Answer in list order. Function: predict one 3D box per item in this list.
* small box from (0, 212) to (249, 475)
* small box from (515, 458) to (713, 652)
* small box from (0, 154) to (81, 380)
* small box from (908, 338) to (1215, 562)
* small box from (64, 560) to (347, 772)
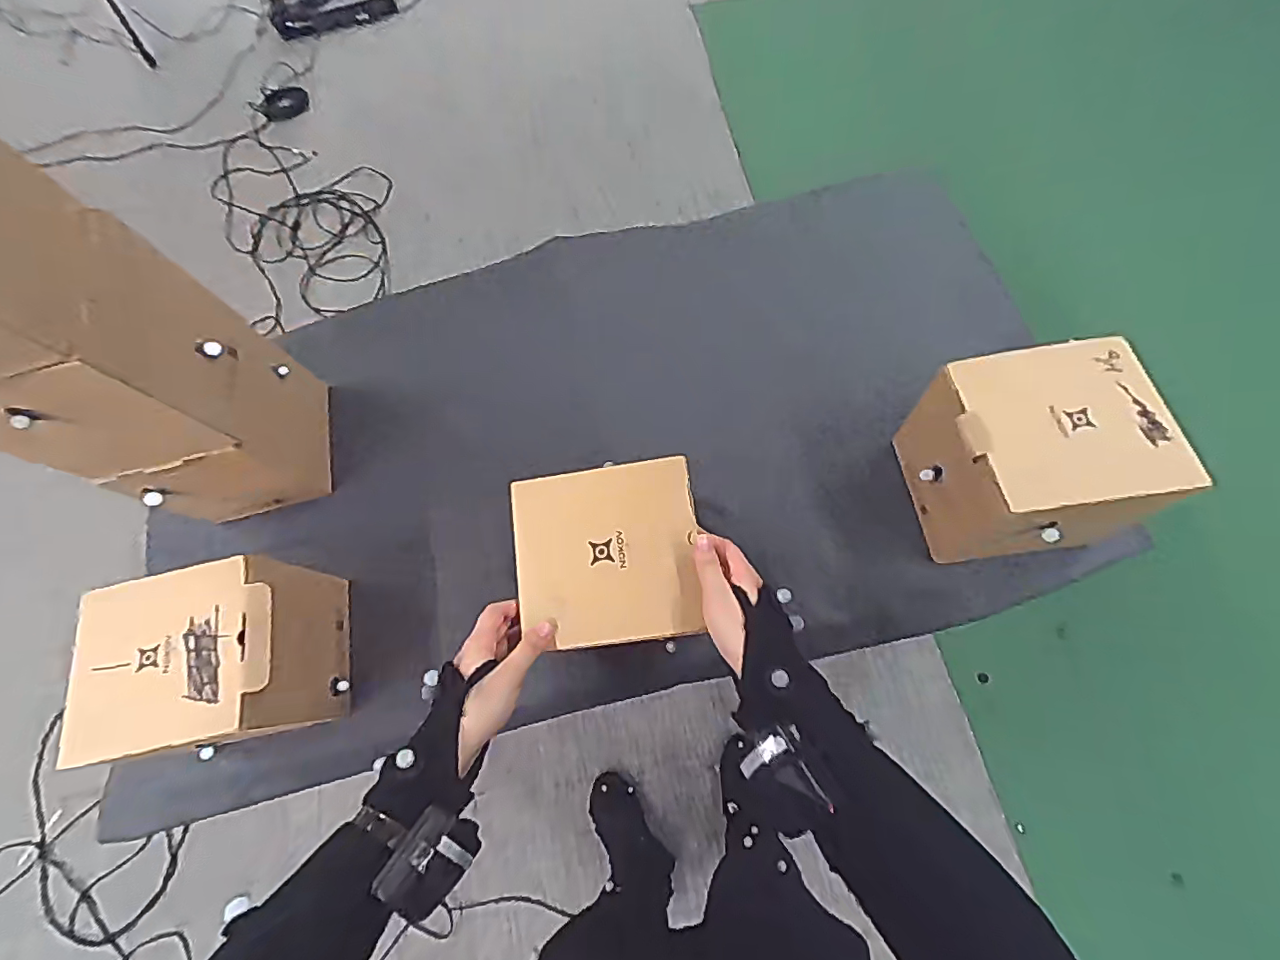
[{"bbox_3d":[-0.532,-0.118,0.529,0.179,0.176,0.168,-14,71,1],"label":"small box"},{"bbox_3d":[-0.020,0.091,0.578,0.179,0.176,0.168,-9,73,3],"label":"small box"},{"bbox_3d":[-0.554,-0.169,0.377,0.168,0.176,0.179,-17,69,-2],"label":"small box"},{"bbox_3d":[0.405,-0.020,0.569,0.179,0.176,0.168,-9,66,4],"label":"small box"},{"bbox_3d":[-0.444,0.196,0.587,0.179,0.176,0.168,-13,70,2],"label":"small box"}]
